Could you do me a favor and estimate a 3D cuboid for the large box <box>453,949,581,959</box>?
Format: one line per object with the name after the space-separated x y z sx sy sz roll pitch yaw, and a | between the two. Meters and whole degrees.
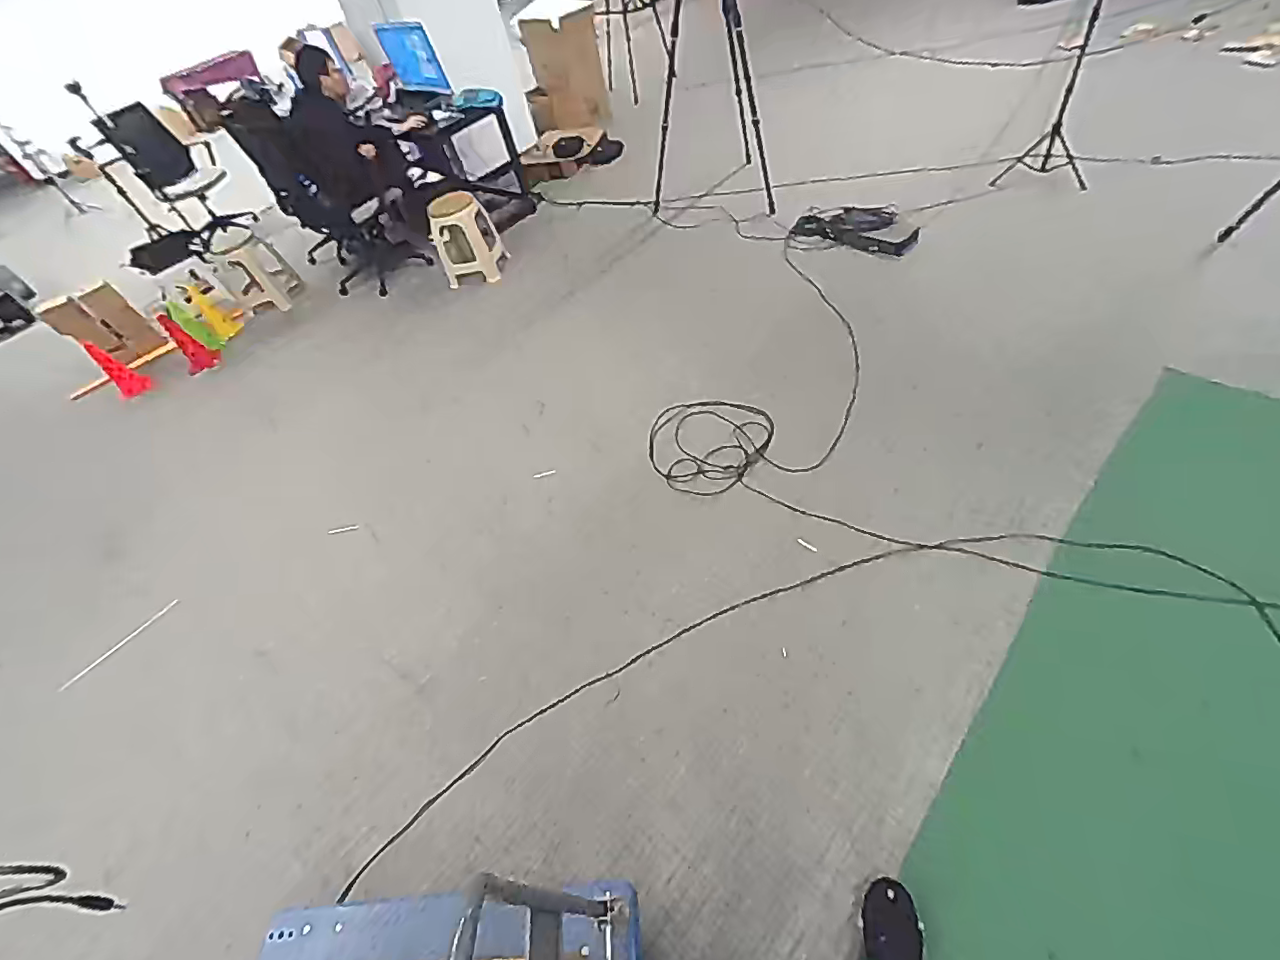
-0.329 1.022 0.917 0.408 0.320 0.320 -11 48 7 | large box
